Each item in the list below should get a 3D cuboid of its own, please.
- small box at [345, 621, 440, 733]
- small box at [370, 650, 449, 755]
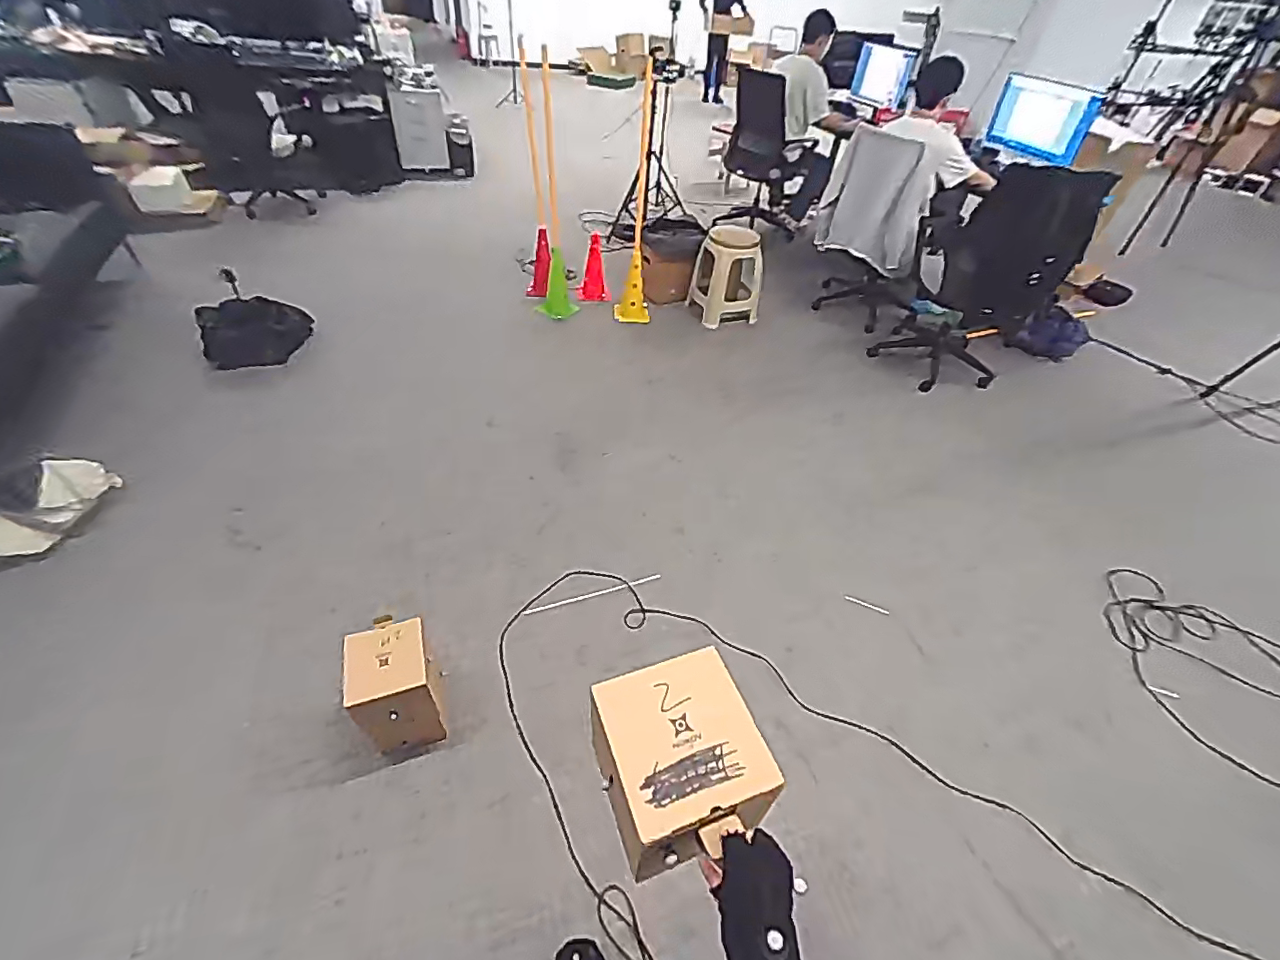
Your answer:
[{"bbox_3d":[-0.569,0.462,1.253,0.168,0.176,0.179,-12,47,-17],"label":"small box"},{"bbox_3d":[-0.590,0.567,1.379,0.168,0.176,0.179,-10,46,-14],"label":"small box"}]
